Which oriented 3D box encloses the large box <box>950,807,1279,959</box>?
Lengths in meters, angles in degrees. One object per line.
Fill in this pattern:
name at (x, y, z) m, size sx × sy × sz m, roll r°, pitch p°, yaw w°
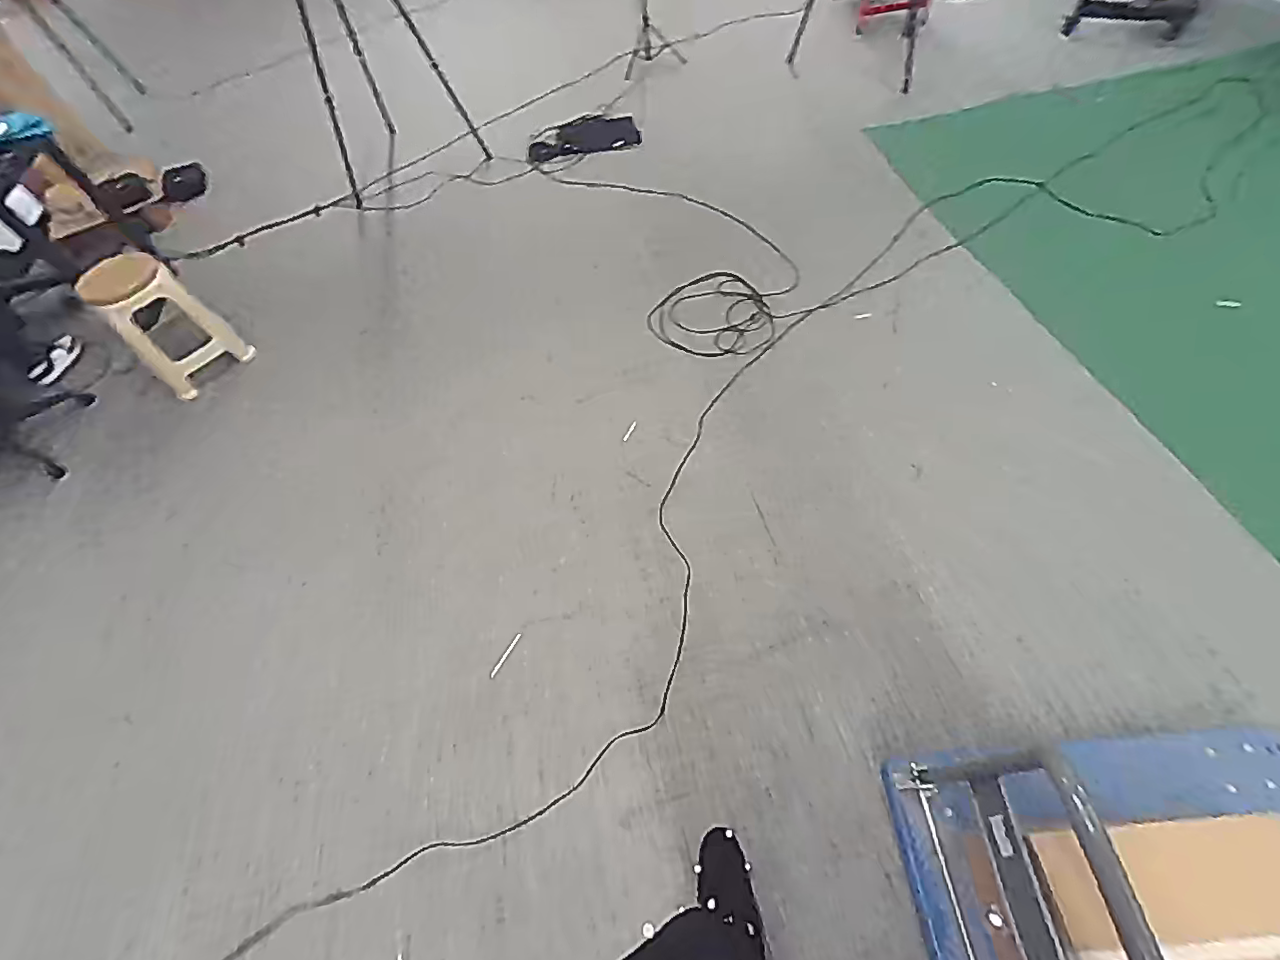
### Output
large box at (0.841, 0.768, 0.926) m, size 0.408 × 0.320 × 0.320 m, roll -7°, pitch 57°, yaw 2°
